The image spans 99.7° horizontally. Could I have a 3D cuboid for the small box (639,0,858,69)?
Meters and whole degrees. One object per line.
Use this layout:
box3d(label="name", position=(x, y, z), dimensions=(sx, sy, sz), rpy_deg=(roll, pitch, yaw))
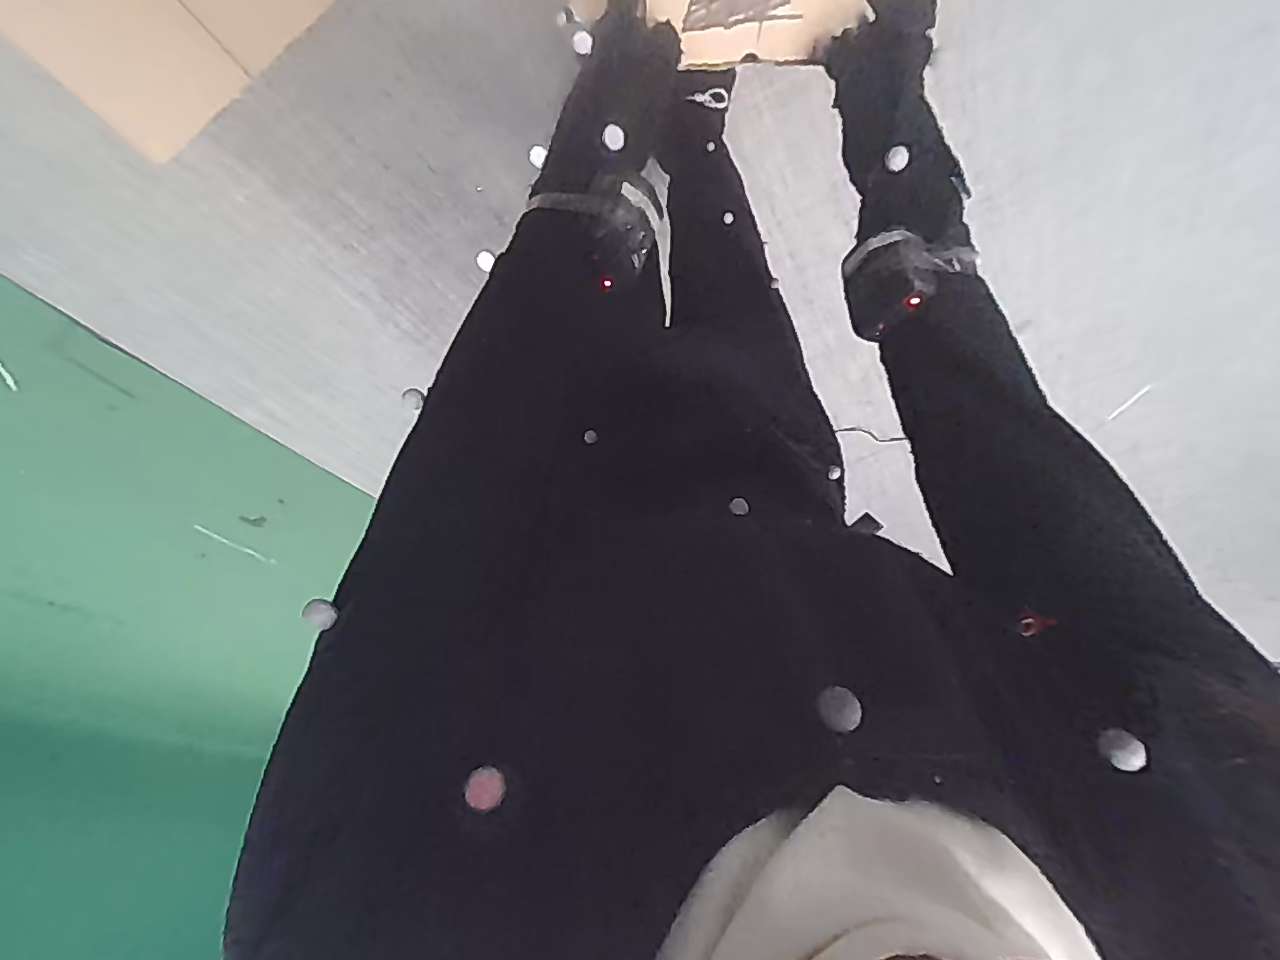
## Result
box3d(label="small box", position=(0.080, -0.448, 0.421), dimensions=(0.168, 0.176, 0.179), rpy_deg=(-2, 138, 0))
